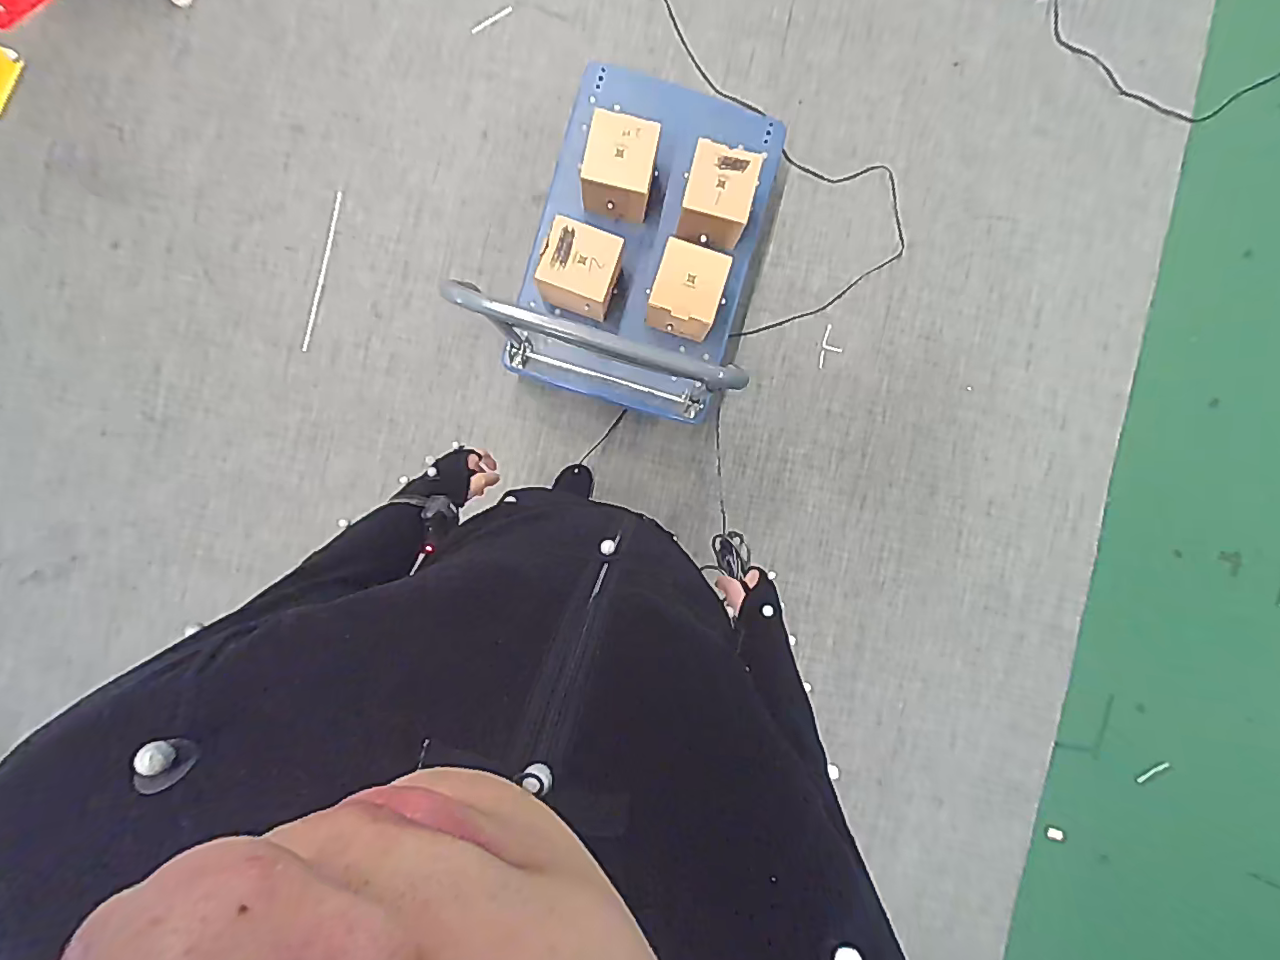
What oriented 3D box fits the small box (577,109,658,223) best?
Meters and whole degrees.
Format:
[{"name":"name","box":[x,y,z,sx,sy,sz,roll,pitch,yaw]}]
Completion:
[{"name":"small box","box":[-0.056,-0.785,1.372,0.168,0.176,0.179,13,90,-4]}]

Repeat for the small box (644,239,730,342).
[{"name":"small box","box":[0.113,-0.478,1.387,0.168,0.176,0.179,18,90,-3]}]

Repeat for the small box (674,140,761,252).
[{"name":"small box","box":[0.191,-0.720,1.387,0.168,0.176,0.179,15,91,-3]}]
